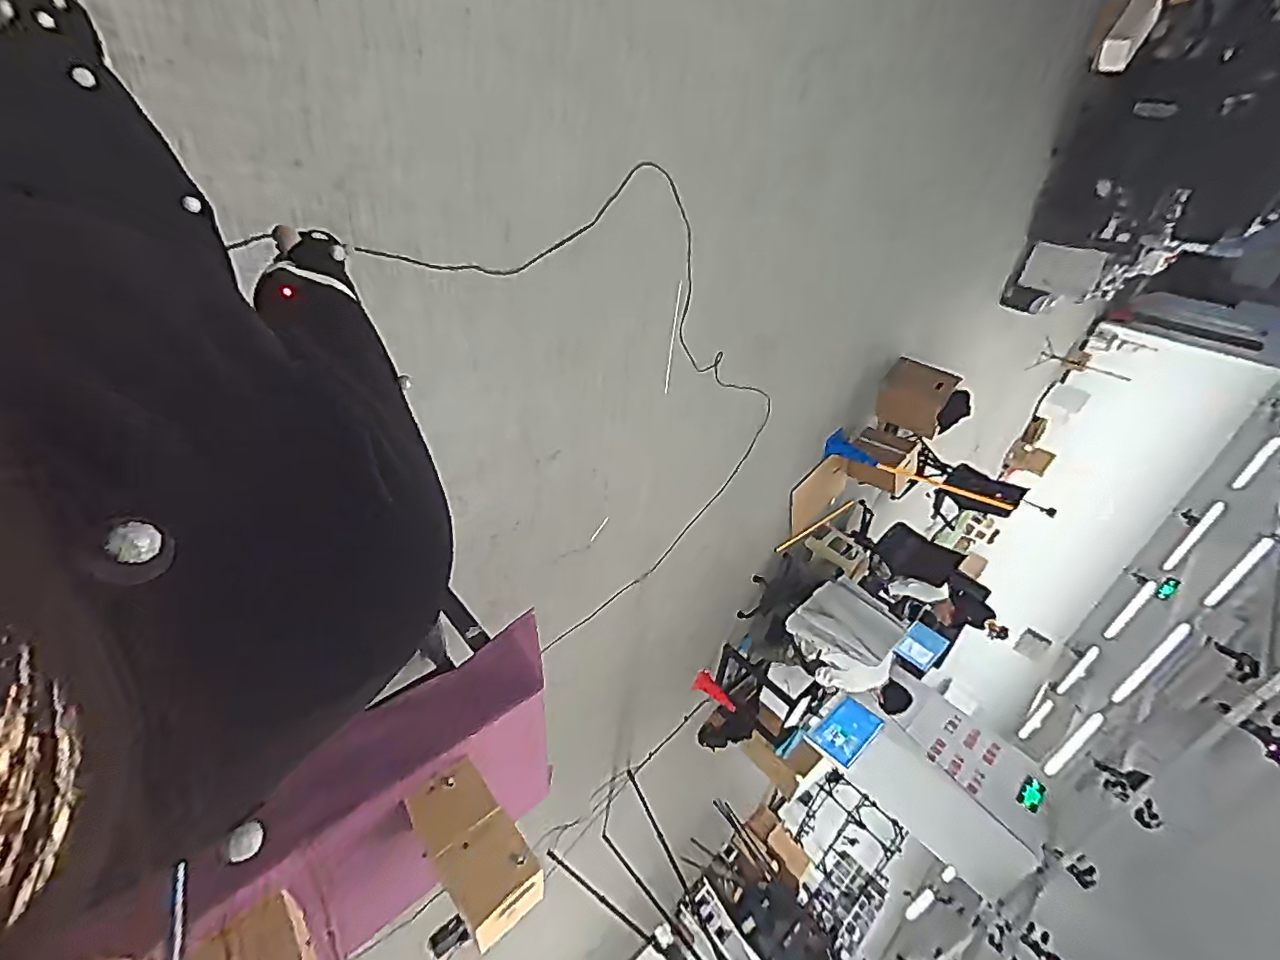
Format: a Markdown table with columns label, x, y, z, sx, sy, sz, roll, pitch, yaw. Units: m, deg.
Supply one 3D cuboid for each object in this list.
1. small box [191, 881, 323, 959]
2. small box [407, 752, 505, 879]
| label | x | y | z | sx | sy | sz | roll | pitch | yaw |
| --- | --- | --- | --- | --- | --- | --- | --- | --- | --- |
| small box | -0.761 | 0.963 | 1.088 | 0.168 | 0.176 | 0.179 | -26 | 137 | -36 |
| small box | -0.449 | 0.815 | 1.329 | 0.168 | 0.176 | 0.179 | -24 | 134 | -36 |
